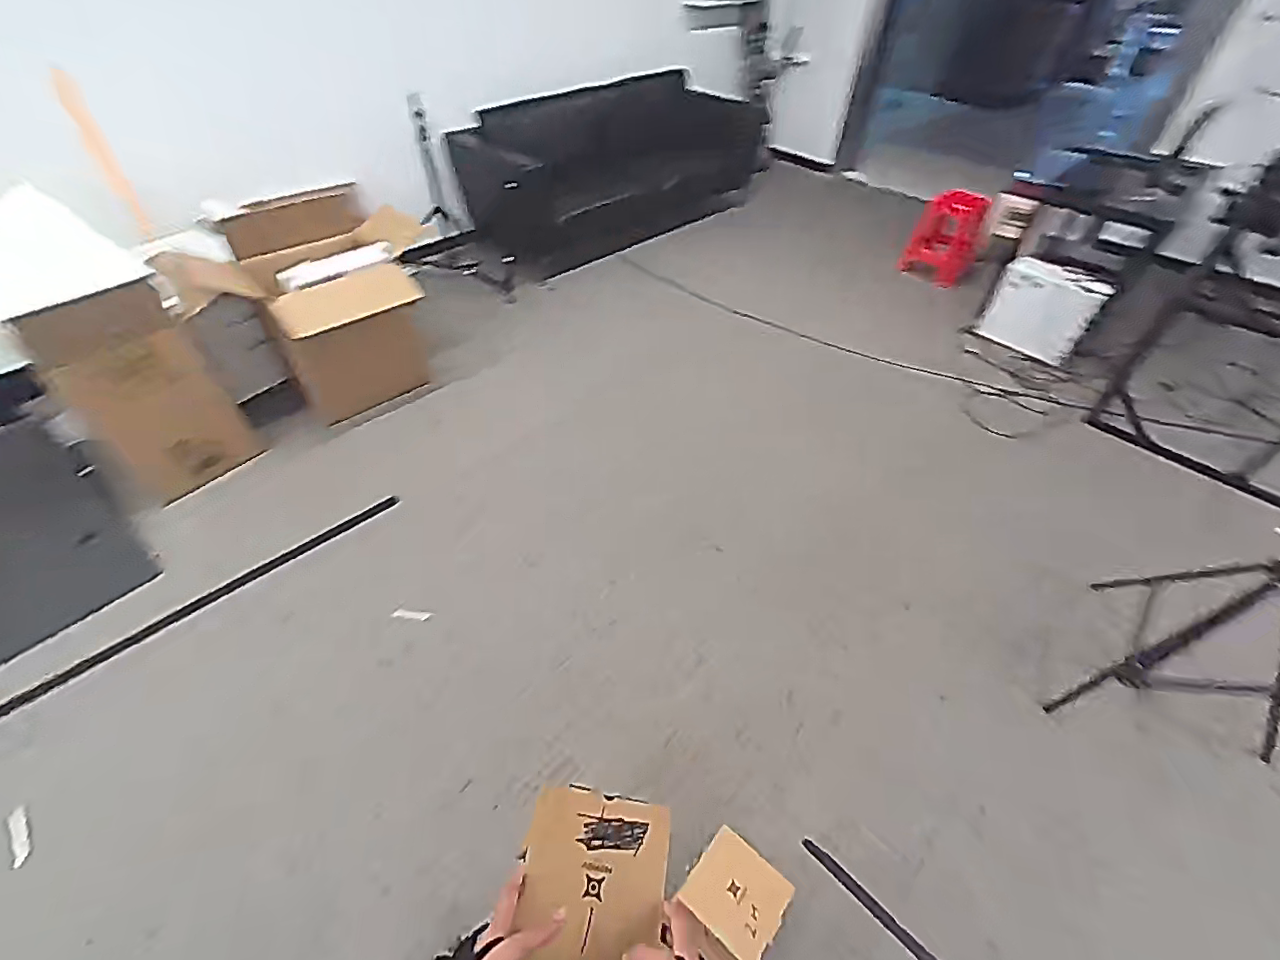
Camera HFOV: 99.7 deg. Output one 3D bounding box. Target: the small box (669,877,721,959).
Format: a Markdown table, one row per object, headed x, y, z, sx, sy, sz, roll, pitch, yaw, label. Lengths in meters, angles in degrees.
| x | y | z | sx | sy | sz | roll | pitch | yaw | label |
| --- | --- | --- | --- | --- | --- | --- | --- | --- | --- |
| 0.177 | 0.973 | 1.229 | 0.168 | 0.176 | 0.179 | 34 | 54 | 28 | small box |

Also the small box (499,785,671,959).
| x | y | z | sx | sy | sz | roll | pitch | yaw | label |
| --- | --- | --- | --- | --- | --- | --- | --- | --- | --- |
| -0.070 | 0.508 | 0.670 | 0.168 | 0.176 | 0.179 | 15 | 48 | -5 | small box |

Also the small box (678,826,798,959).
| x | y | z | sx | sy | sz | roll | pitch | yaw | label |
| --- | --- | --- | --- | --- | --- | --- | --- | --- | --- |
| 0.192 | 0.863 | 1.107 | 0.179 | 0.176 | 0.168 | 33 | 53 | 28 | small box |
